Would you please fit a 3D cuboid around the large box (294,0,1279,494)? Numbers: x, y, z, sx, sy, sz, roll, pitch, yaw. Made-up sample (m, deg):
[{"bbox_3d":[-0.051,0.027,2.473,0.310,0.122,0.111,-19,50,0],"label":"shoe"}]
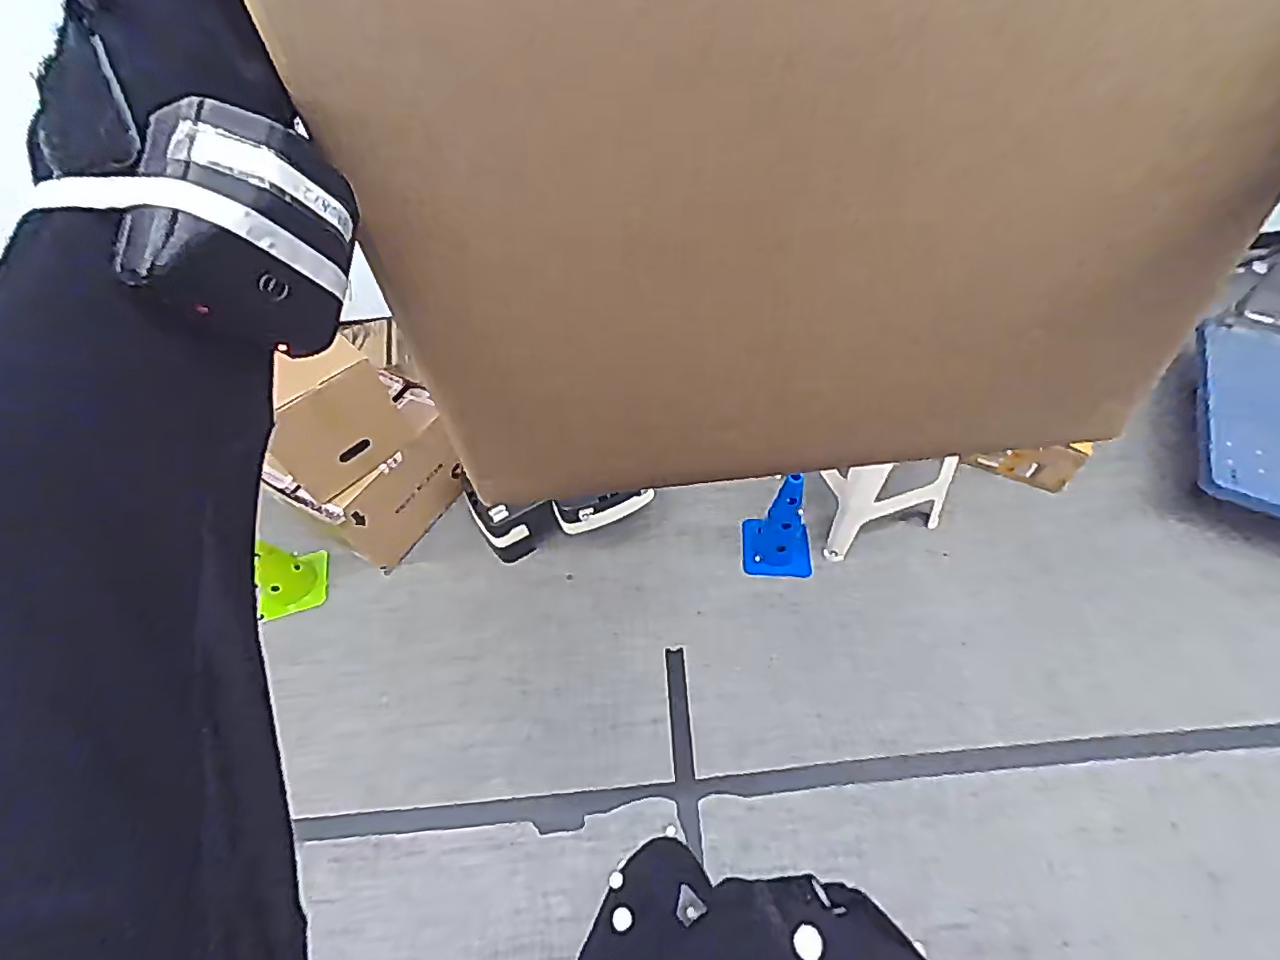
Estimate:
[{"bbox_3d":[0.073,-0.218,0.358,0.408,0.320,0.320,-6,44,2],"label":"large box"}]
